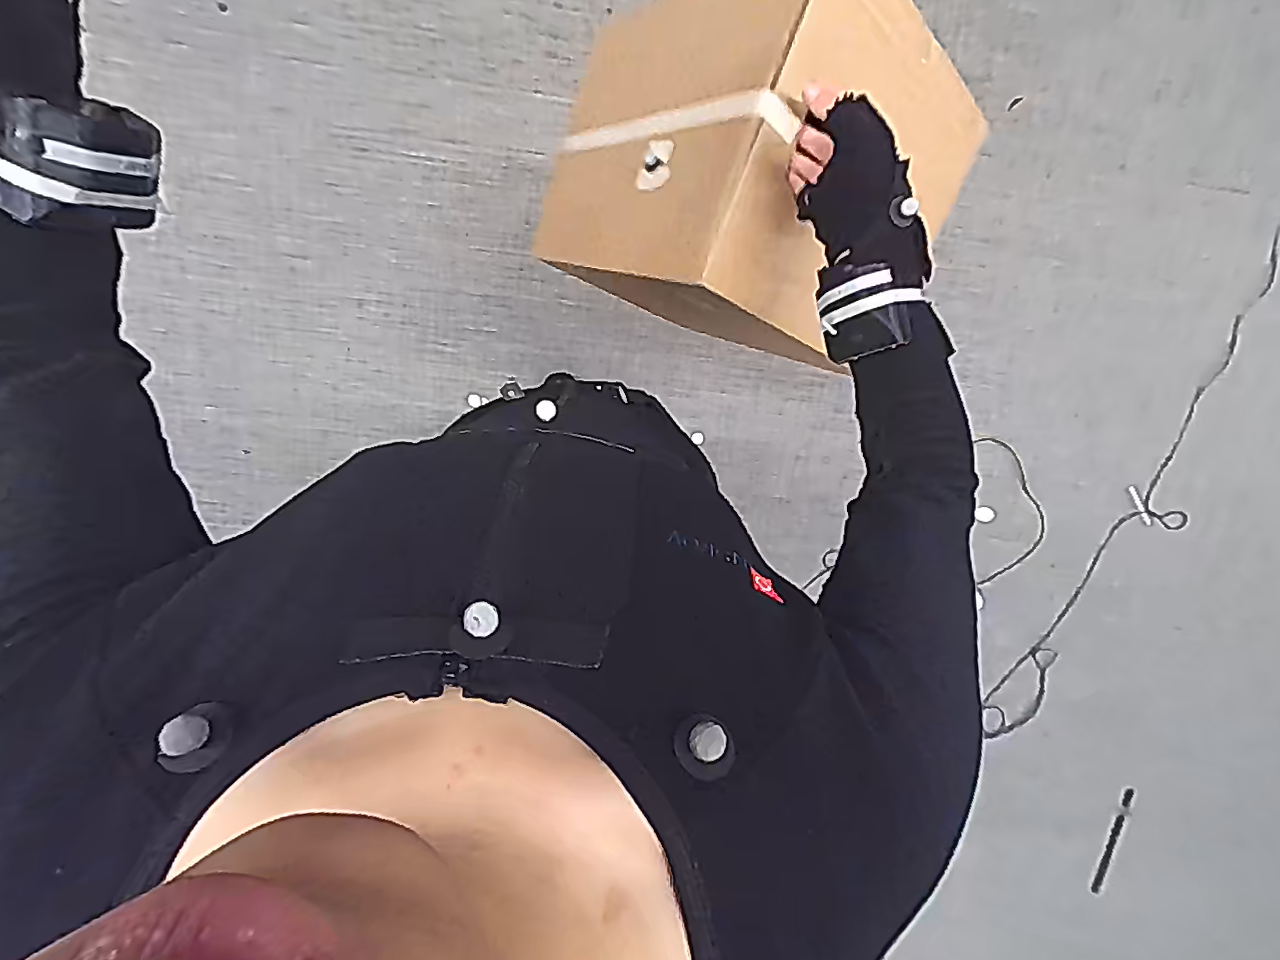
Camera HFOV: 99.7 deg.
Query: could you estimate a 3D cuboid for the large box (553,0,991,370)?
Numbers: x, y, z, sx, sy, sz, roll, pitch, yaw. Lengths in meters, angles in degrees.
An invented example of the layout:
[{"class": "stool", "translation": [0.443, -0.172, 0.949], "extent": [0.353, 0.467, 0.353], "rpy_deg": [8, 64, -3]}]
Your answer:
[{"class": "large box", "translation": [0.141, -0.374, 0.719], "extent": [0.320, 0.408, 0.320], "rpy_deg": [12, 106, -37]}]
